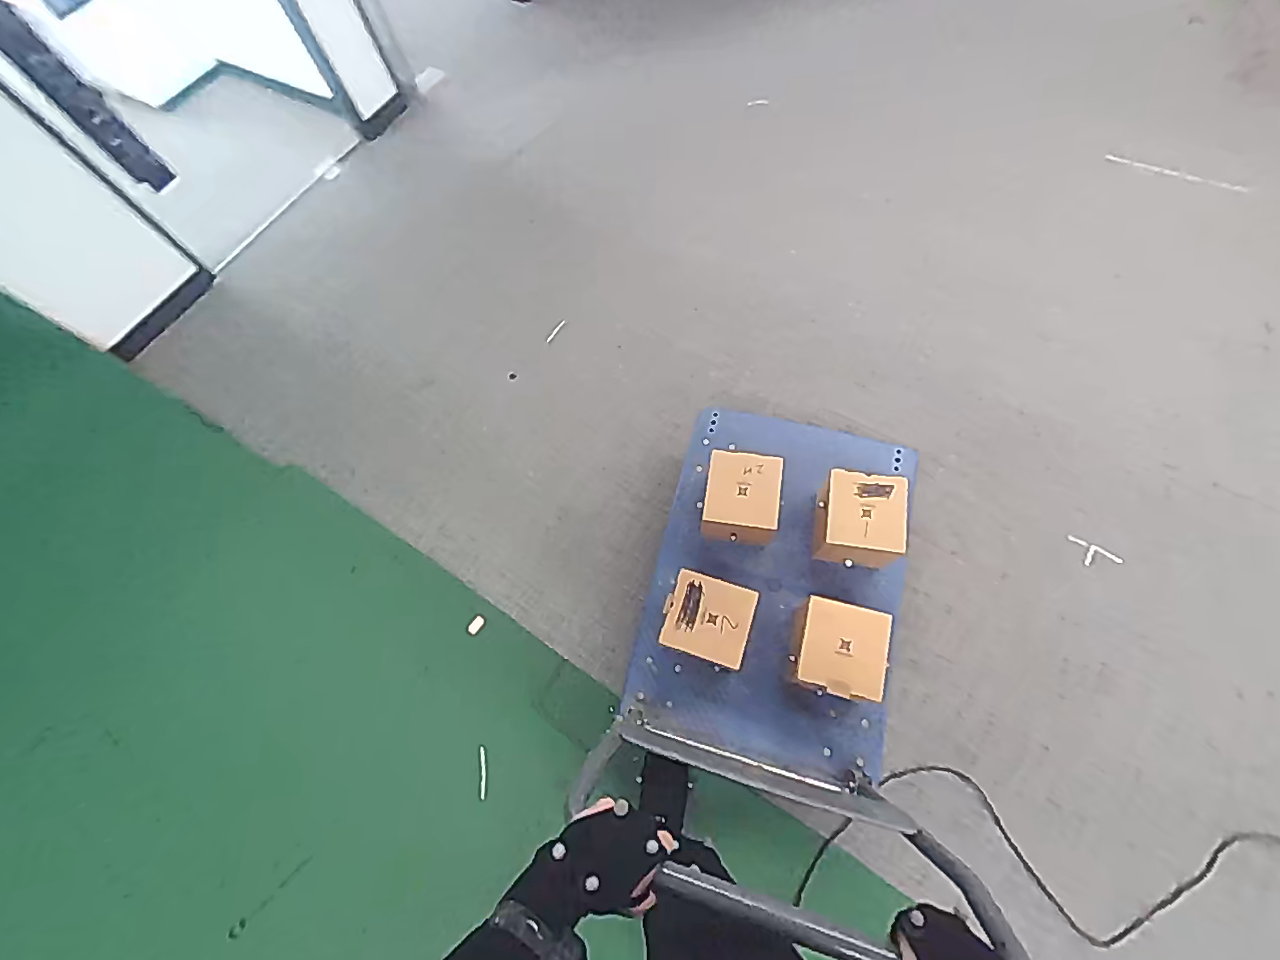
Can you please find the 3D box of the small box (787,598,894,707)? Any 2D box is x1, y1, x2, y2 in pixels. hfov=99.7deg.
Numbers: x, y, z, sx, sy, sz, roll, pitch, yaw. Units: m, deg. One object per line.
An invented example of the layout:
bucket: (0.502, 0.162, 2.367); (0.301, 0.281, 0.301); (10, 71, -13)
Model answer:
small box: (0.422, 0.369, 1.157); (0.168, 0.176, 0.179); (13, 72, 11)

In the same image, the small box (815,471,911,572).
small box: (0.508, 0.100, 1.247); (0.168, 0.176, 0.179); (8, 71, 9)

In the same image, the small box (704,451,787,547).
small box: (0.247, 0.052, 1.291); (0.168, 0.176, 0.179); (9, 71, 8)
